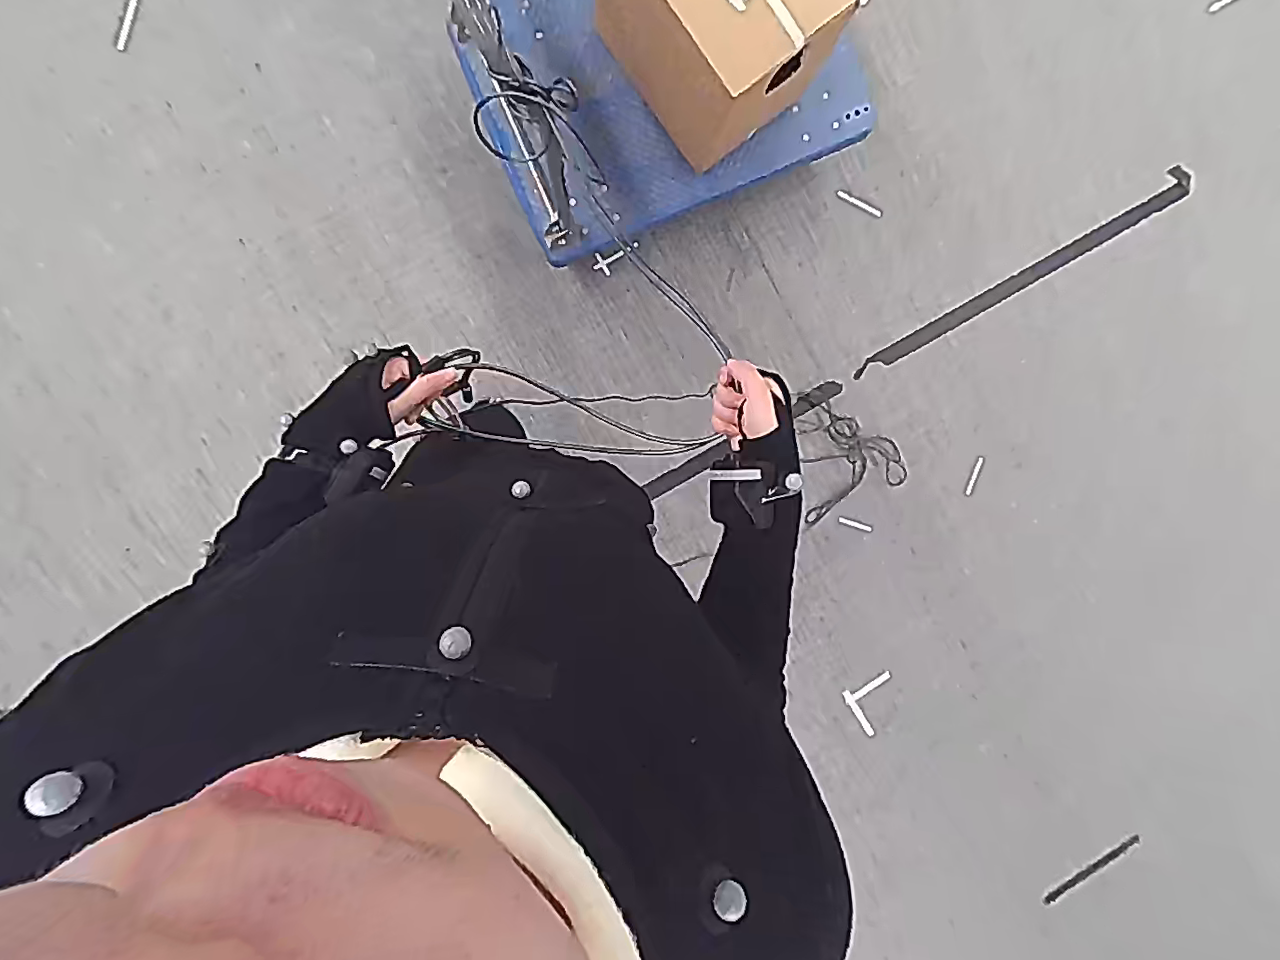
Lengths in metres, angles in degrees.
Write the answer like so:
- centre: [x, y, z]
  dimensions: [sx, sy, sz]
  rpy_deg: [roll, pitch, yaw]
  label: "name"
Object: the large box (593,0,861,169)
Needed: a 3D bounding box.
- centre: [0.149, -0.954, 1.095]
  dimensions: [0.320, 0.320, 0.408]
  rpy_deg: [-39, 99, 0]
  label: "large box"
